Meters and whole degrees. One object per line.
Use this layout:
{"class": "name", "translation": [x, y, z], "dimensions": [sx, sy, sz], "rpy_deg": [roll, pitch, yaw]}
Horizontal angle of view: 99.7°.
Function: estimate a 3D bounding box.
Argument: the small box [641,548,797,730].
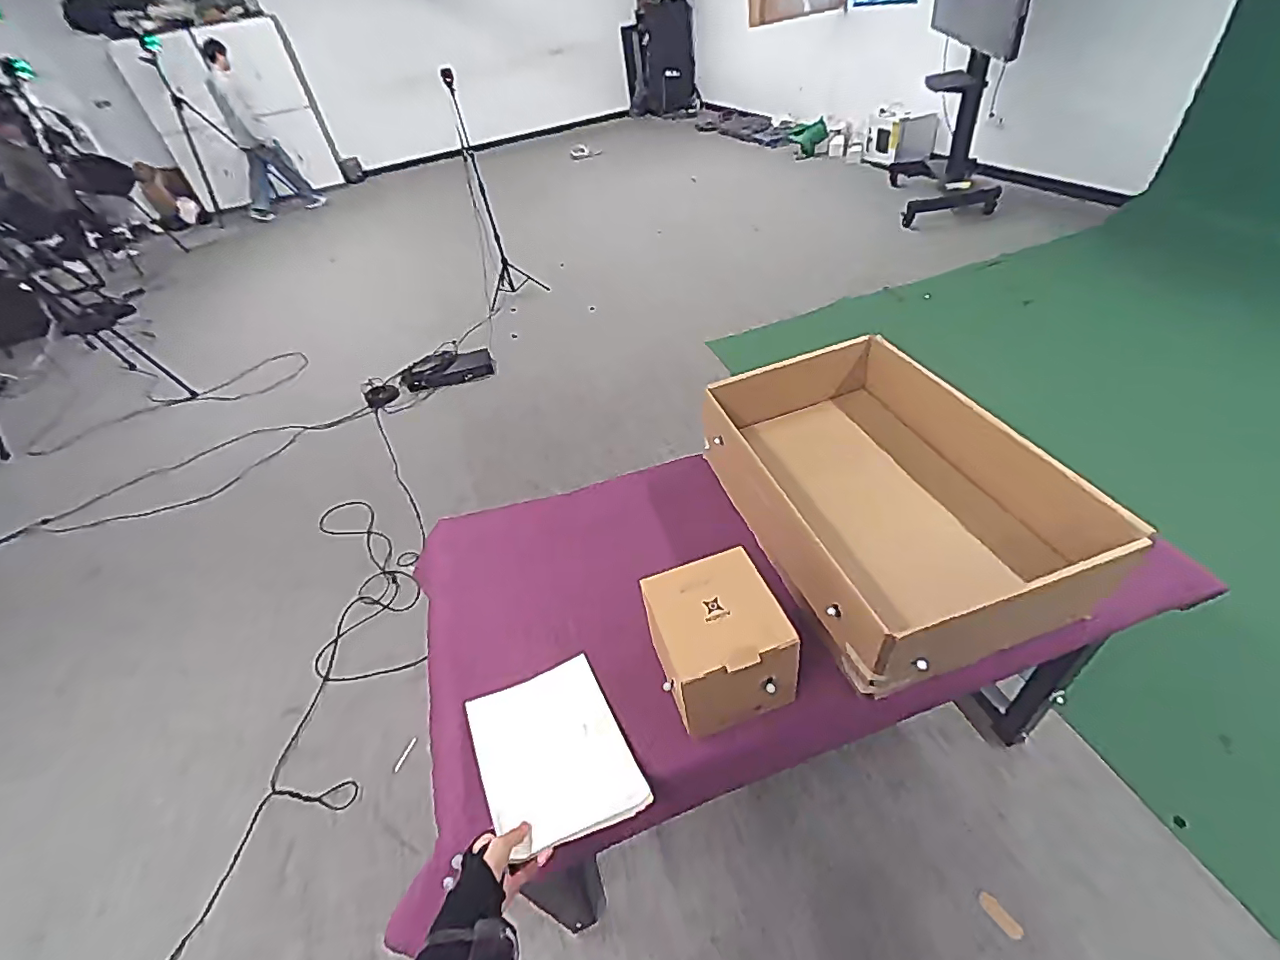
{"class": "small box", "translation": [0.112, 0.236, 0.787], "dimensions": [0.168, 0.176, 0.179], "rpy_deg": [-17, 41, -8]}
